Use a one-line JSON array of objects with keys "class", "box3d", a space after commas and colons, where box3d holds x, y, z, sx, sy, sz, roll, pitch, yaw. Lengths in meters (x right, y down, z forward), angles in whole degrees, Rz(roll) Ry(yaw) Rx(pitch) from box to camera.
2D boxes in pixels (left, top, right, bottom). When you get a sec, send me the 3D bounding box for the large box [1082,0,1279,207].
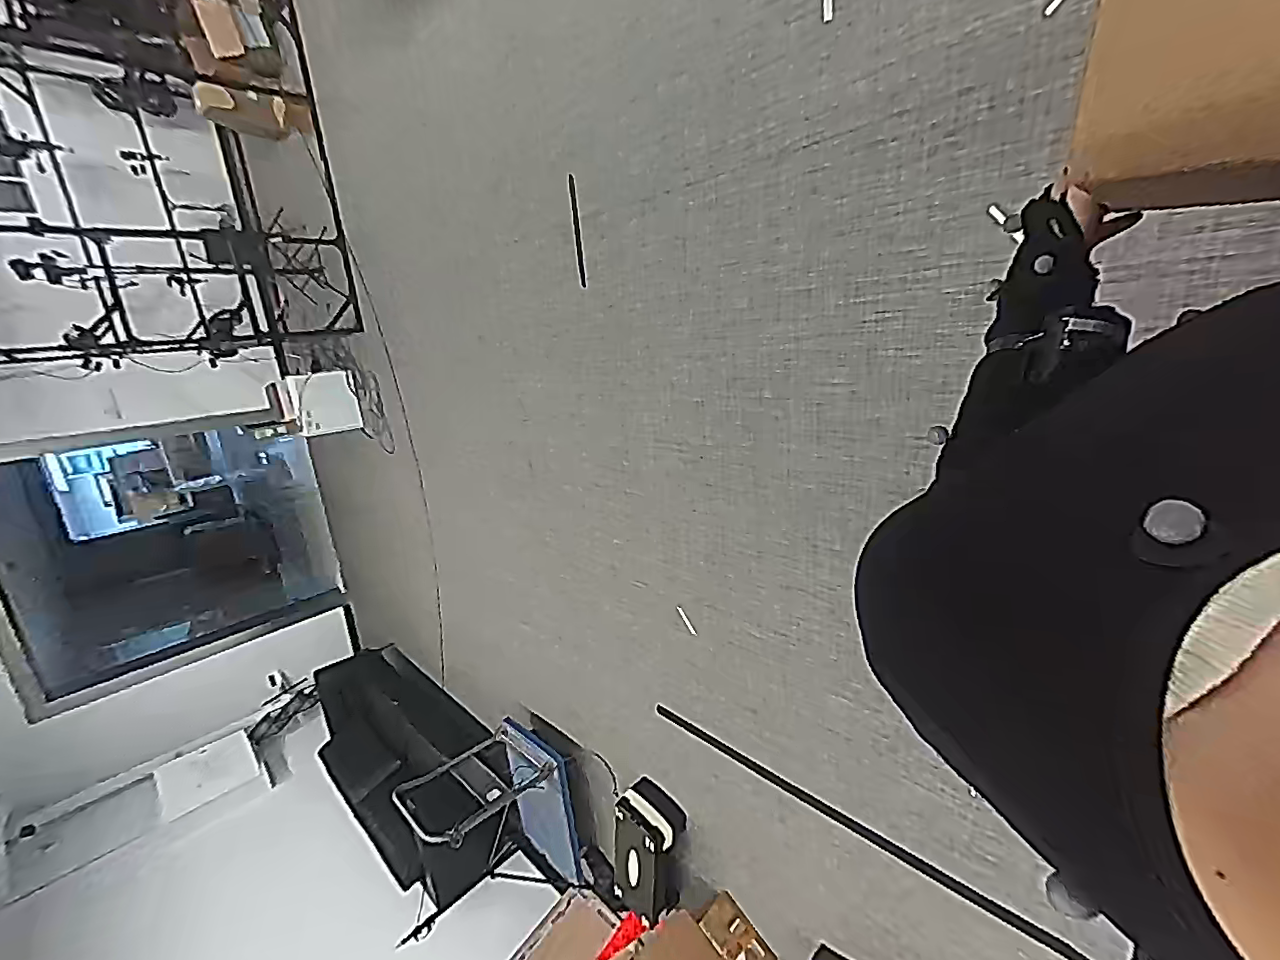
[{"class": "large box", "box3d": [0.444, -0.298, 0.185, 0.408, 0.320, 0.320, 15, 117, 39]}]
